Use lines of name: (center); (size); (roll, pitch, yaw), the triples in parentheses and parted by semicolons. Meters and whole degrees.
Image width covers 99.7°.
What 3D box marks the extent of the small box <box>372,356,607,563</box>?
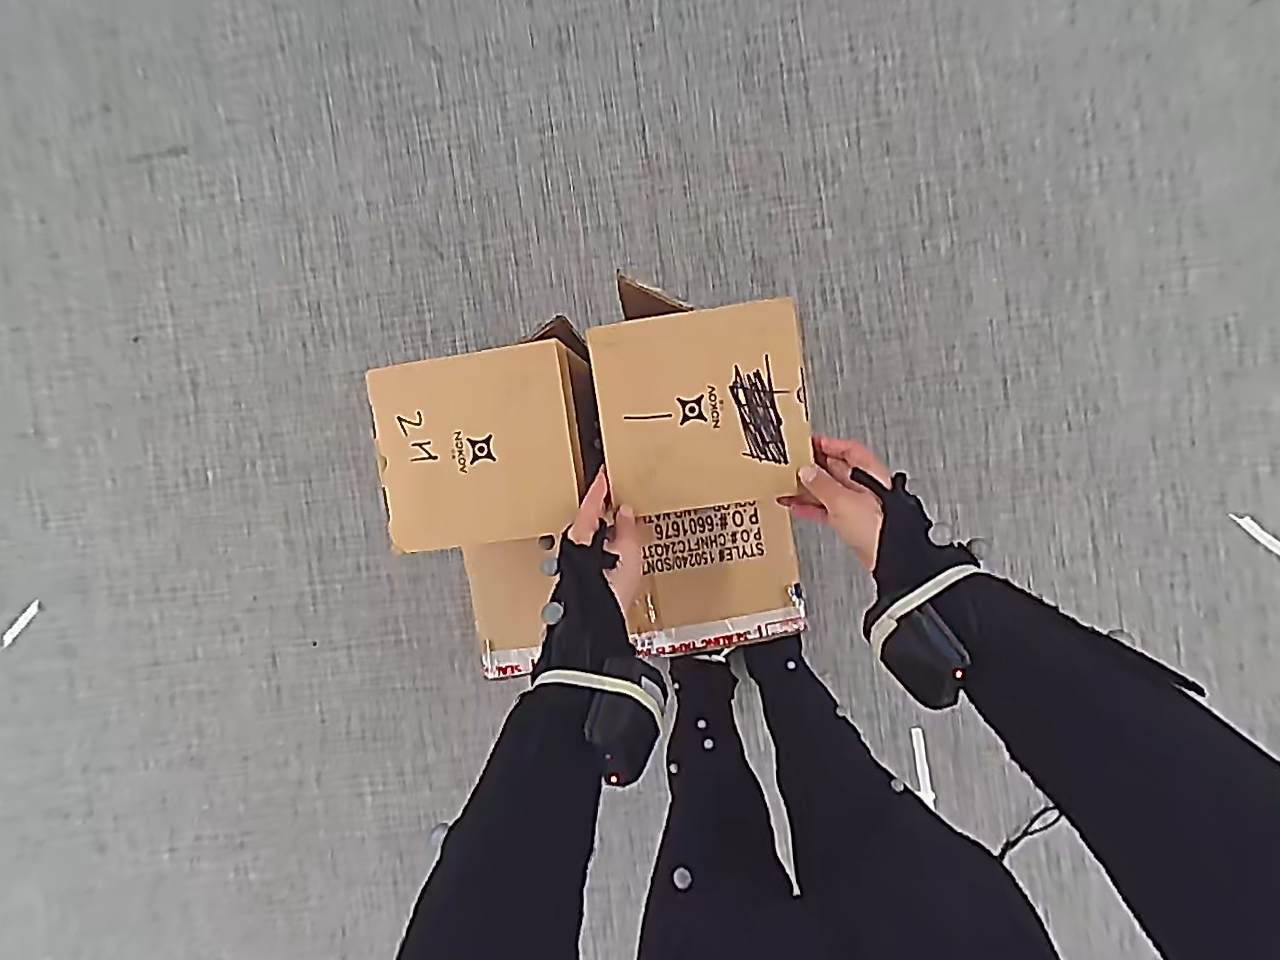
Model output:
small box: (-0.134, -0.020, 0.551); (0.179, 0.176, 0.168); (-8, 91, 7)

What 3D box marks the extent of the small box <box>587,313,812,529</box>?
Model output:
small box: (0.053, -0.053, 0.538); (0.179, 0.176, 0.168); (-9, 92, 3)
